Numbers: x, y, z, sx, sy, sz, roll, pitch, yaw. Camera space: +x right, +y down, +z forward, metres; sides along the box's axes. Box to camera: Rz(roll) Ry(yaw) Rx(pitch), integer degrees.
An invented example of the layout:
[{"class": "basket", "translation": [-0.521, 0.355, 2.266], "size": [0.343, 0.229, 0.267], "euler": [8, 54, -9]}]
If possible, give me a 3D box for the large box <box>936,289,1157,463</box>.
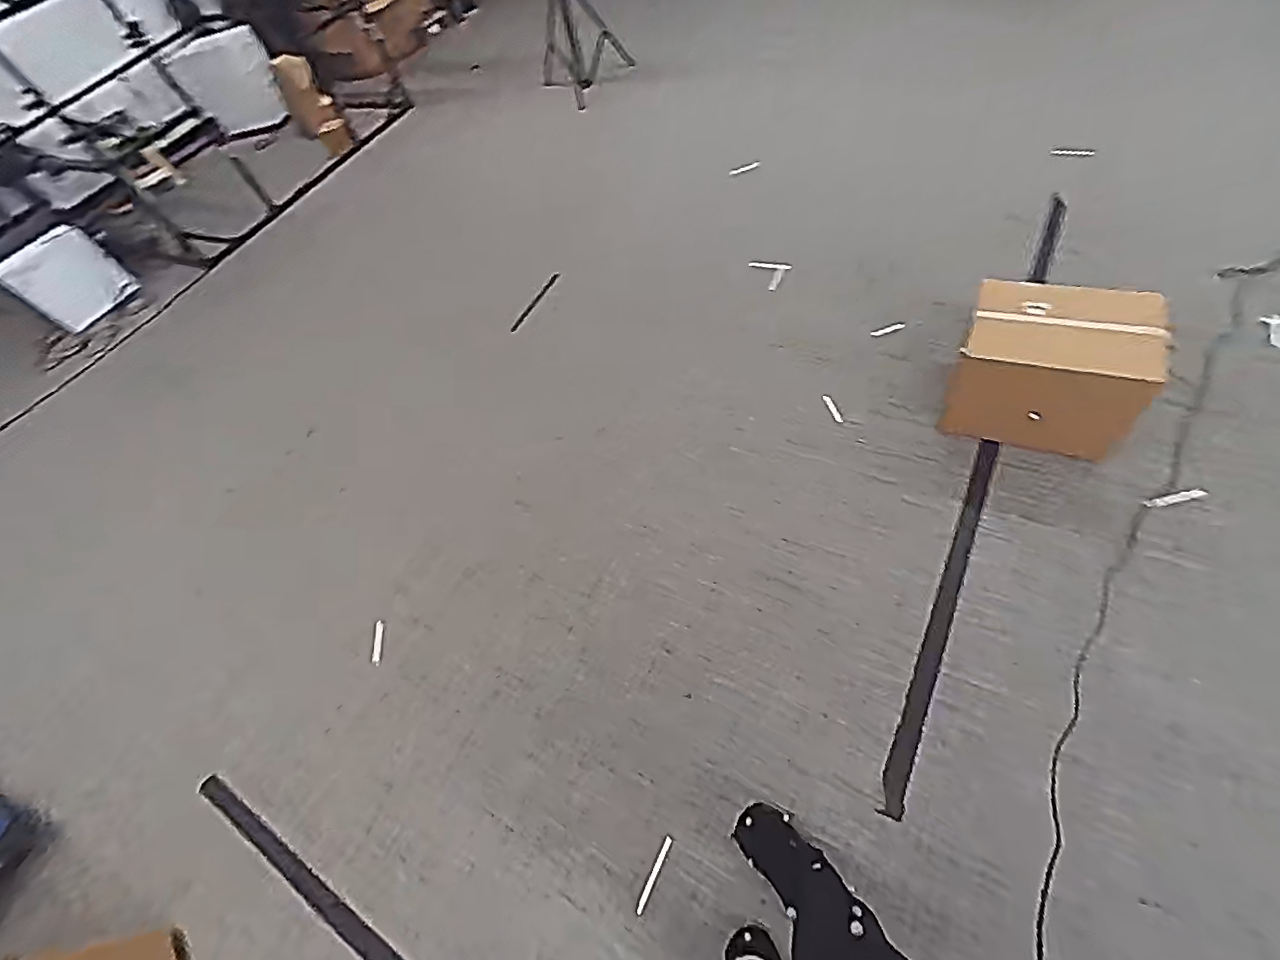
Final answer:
[{"class": "large box", "translation": [1.084, -0.286, 1.476], "size": [0.408, 0.320, 0.320], "euler": [15, 60, 25]}]
